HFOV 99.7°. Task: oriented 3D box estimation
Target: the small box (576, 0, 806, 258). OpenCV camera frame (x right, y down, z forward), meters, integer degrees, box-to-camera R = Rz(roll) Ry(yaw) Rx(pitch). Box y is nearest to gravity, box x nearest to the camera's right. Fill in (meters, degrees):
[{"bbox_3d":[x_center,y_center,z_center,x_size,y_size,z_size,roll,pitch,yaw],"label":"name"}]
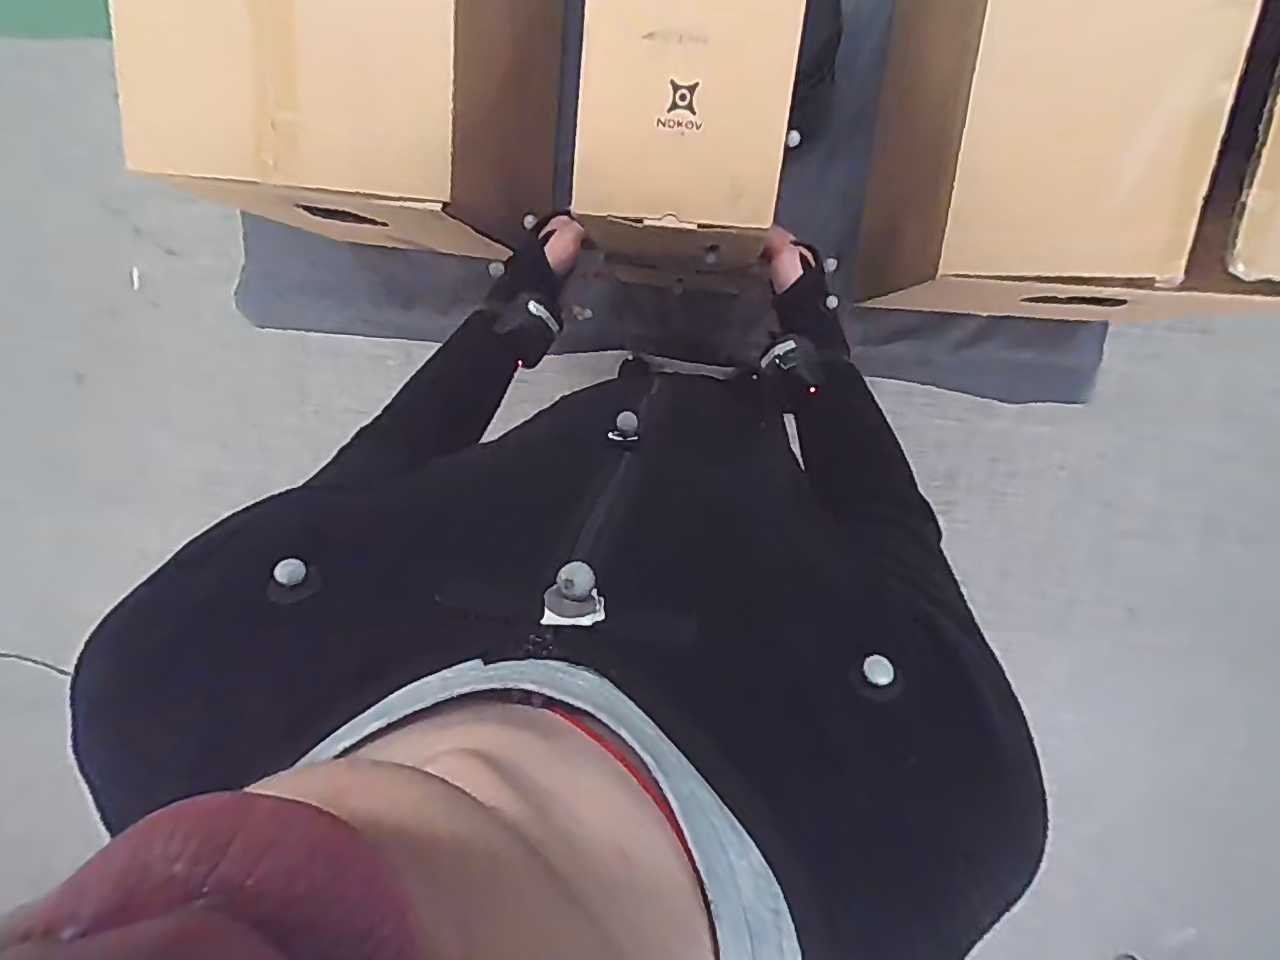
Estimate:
[{"bbox_3d":[0.043,-0.313,0.500,0.168,0.176,0.179,6,103,3],"label":"small box"}]
